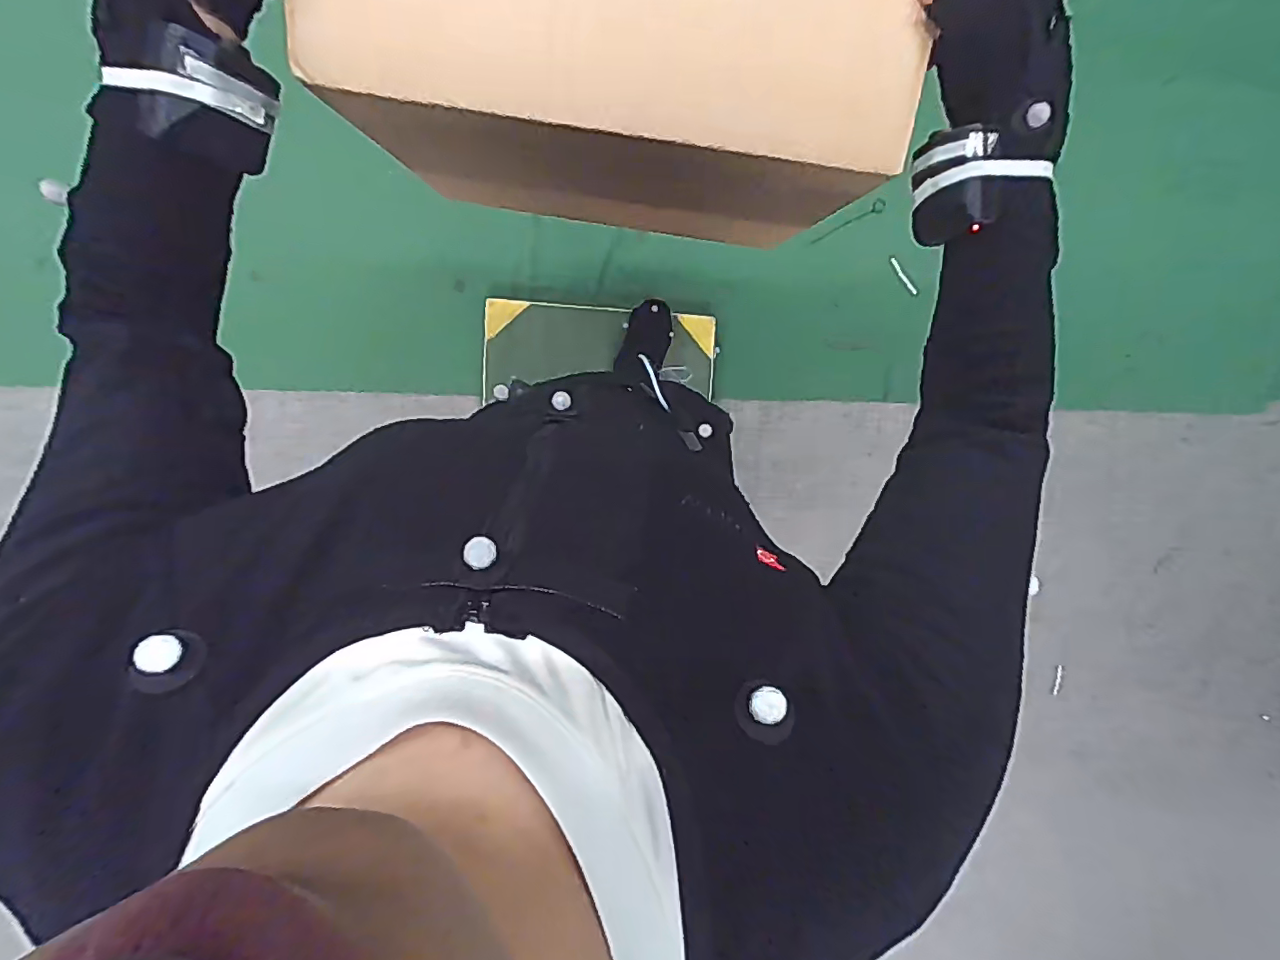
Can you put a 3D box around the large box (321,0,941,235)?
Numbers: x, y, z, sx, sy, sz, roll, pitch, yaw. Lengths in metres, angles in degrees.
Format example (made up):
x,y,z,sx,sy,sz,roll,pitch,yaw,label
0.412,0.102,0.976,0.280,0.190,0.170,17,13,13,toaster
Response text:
x,y,z,sx,sy,sz,roll,pitch,yaw,label
0.000,-0.428,0.470,0.408,0.320,0.320,6,105,-5,large box
